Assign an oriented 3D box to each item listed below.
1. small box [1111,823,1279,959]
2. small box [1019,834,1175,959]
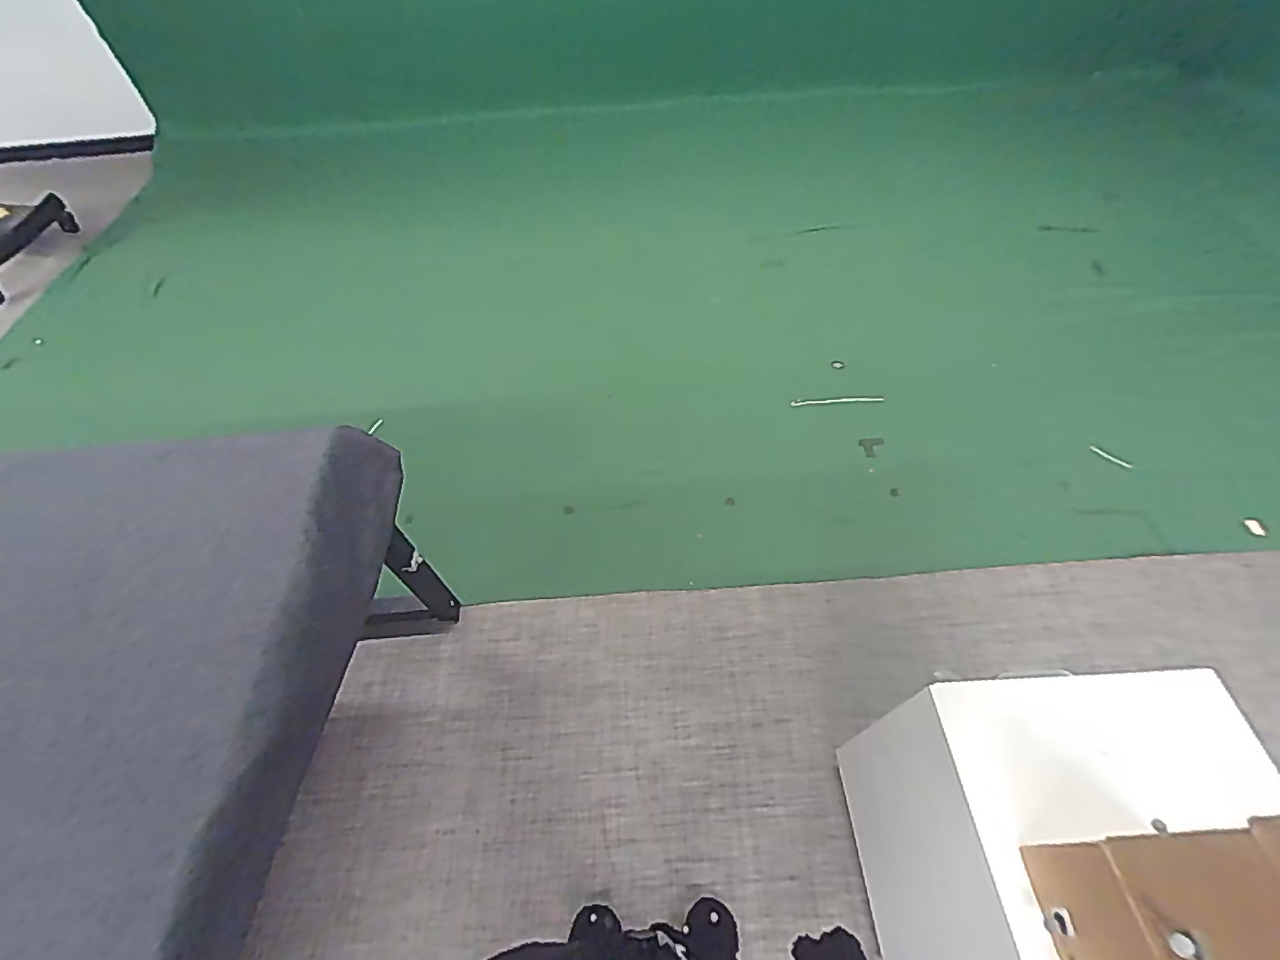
[{"bbox_3d":[0.527,0.357,0.403,0.179,0.176,0.168,-6,54,-2],"label":"small box"},{"bbox_3d":[0.533,0.453,0.535,0.179,0.176,0.168,-6,54,1],"label":"small box"}]
